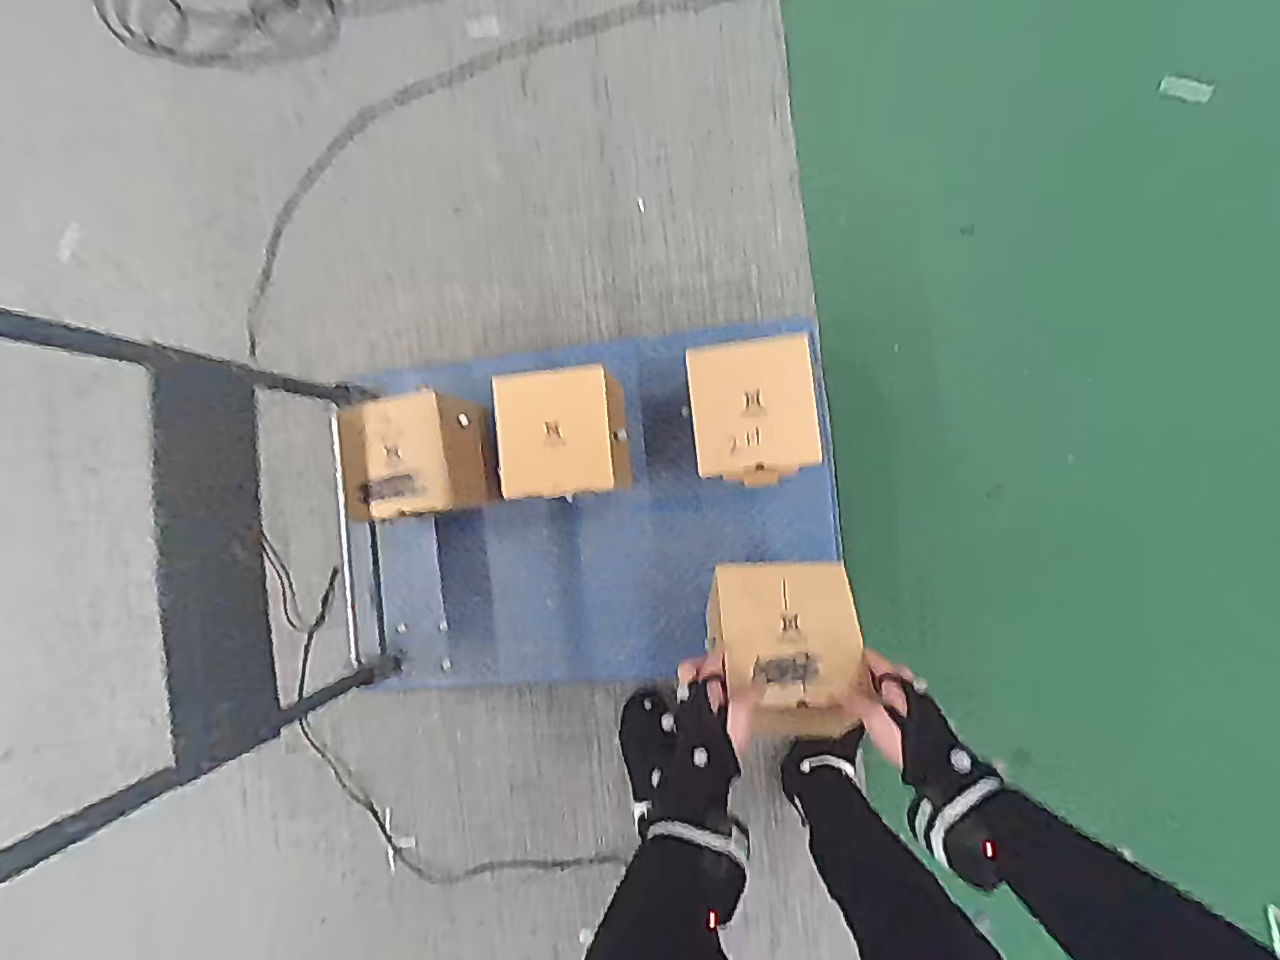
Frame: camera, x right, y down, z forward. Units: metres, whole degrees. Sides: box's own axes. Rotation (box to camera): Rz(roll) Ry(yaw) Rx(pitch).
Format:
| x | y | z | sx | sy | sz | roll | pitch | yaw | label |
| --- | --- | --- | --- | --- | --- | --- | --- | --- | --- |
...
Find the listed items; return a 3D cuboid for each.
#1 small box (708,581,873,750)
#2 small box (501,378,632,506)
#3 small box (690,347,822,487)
| x | y | z | sx | sy | sz | roll | pitch | yaw | label |
| --- | --- | --- | --- | --- | --- | --- | --- | --- | --- |
| 0.182 | 0.249 | 0.714 | 0.168 | 0.176 | 0.179 | 0 | 53 | 1 | small box |
| -0.108 | -0.052 | 0.856 | 0.168 | 0.176 | 0.179 | -5 | 89 | 7 | small box |
| 0.167 | -0.085 | 0.817 | 0.168 | 0.176 | 0.179 | -6 | 88 | 8 | small box |
